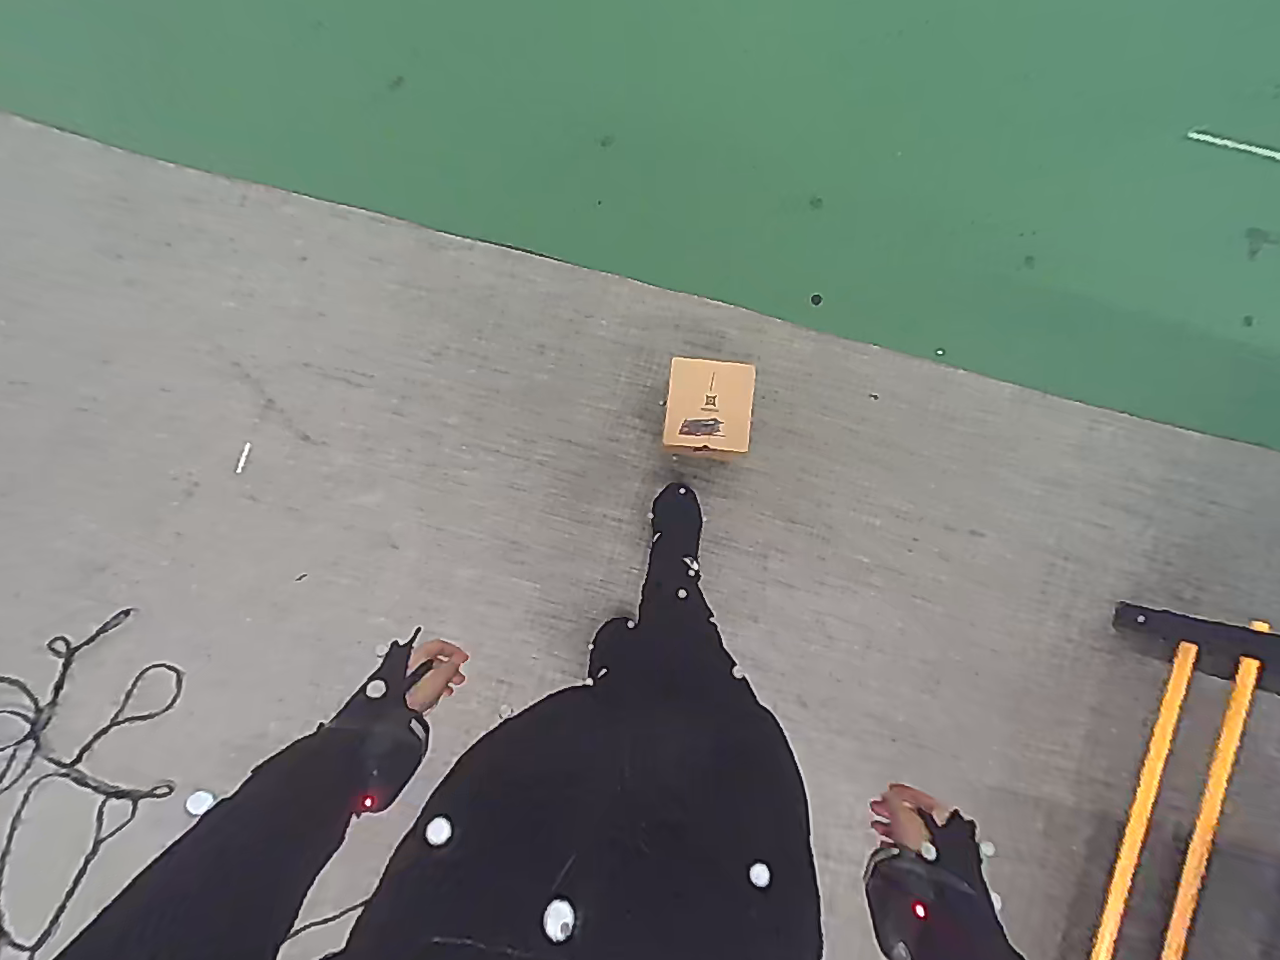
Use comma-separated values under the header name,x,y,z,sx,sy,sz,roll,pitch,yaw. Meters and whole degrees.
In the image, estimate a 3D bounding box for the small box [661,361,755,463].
name,x,y,z,sx,sy,sz,roll,pitch,yaw
small box,0.134,-0.133,1.125,0.168,0.176,0.179,6,86,0
